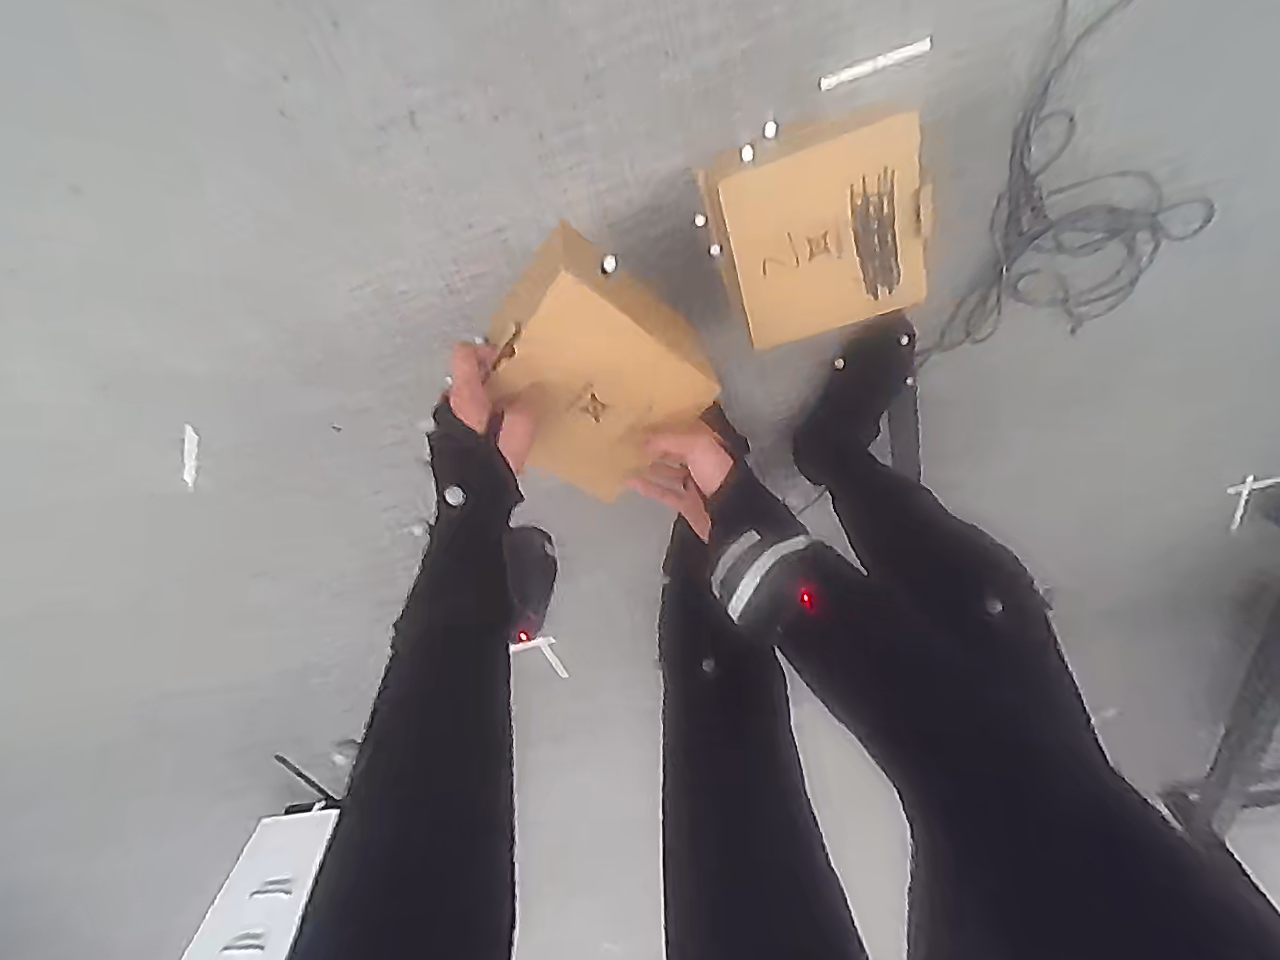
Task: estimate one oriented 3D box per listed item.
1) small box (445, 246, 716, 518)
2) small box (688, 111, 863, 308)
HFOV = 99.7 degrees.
[{"bbox_3d":[-0.060,-0.100,0.524,0.179,0.176,0.168,29,118,-28],"label":"small box"},{"bbox_3d":[0.166,-0.348,0.700,0.179,0.176,0.168,-17,121,12],"label":"small box"}]
